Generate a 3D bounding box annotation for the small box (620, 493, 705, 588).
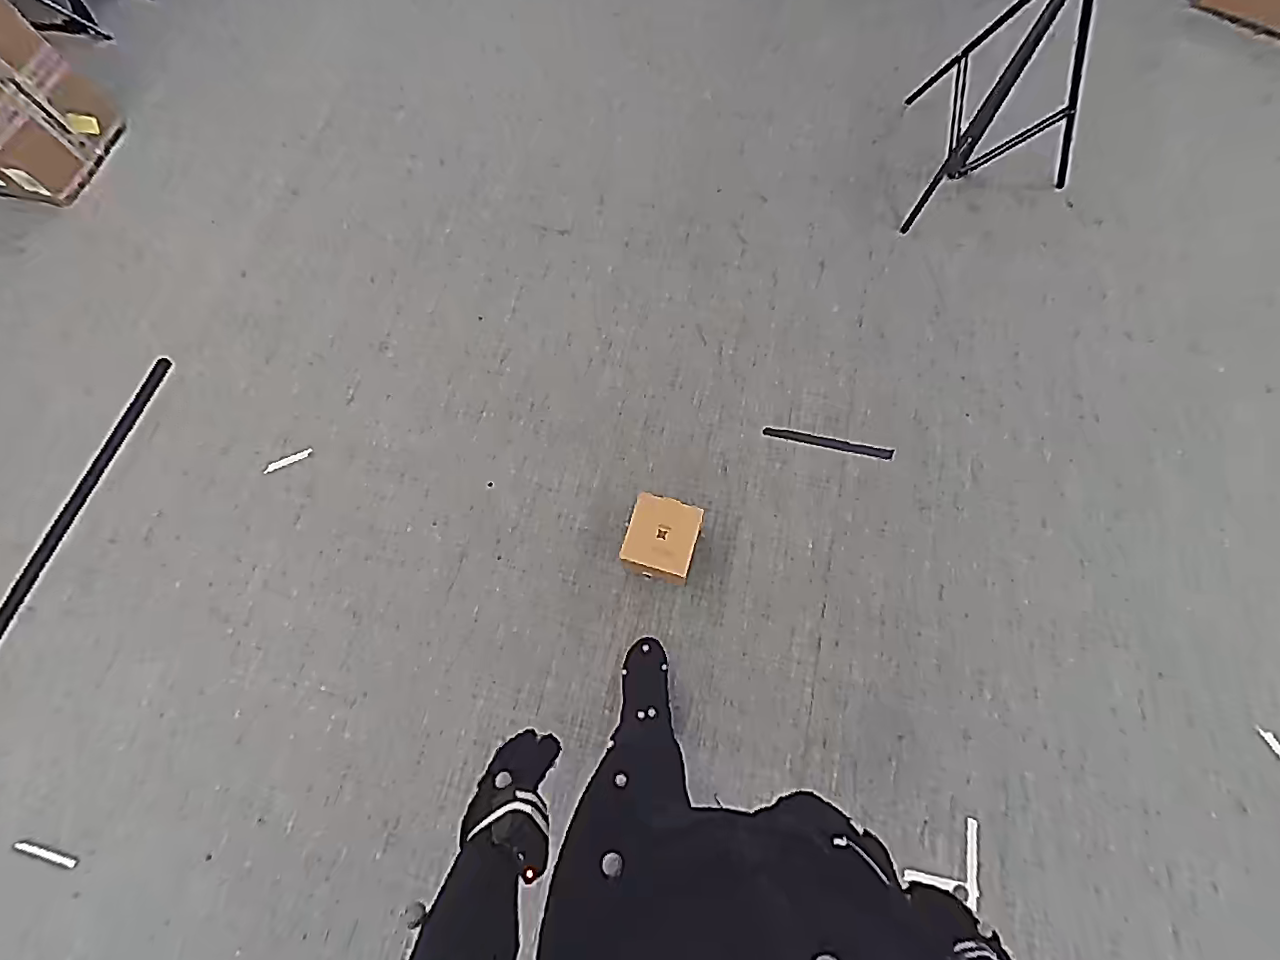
[{"bbox_3d":[0.057,0.157,1.359,0.168,0.176,0.179,15,72,8],"label":"small box"}]
